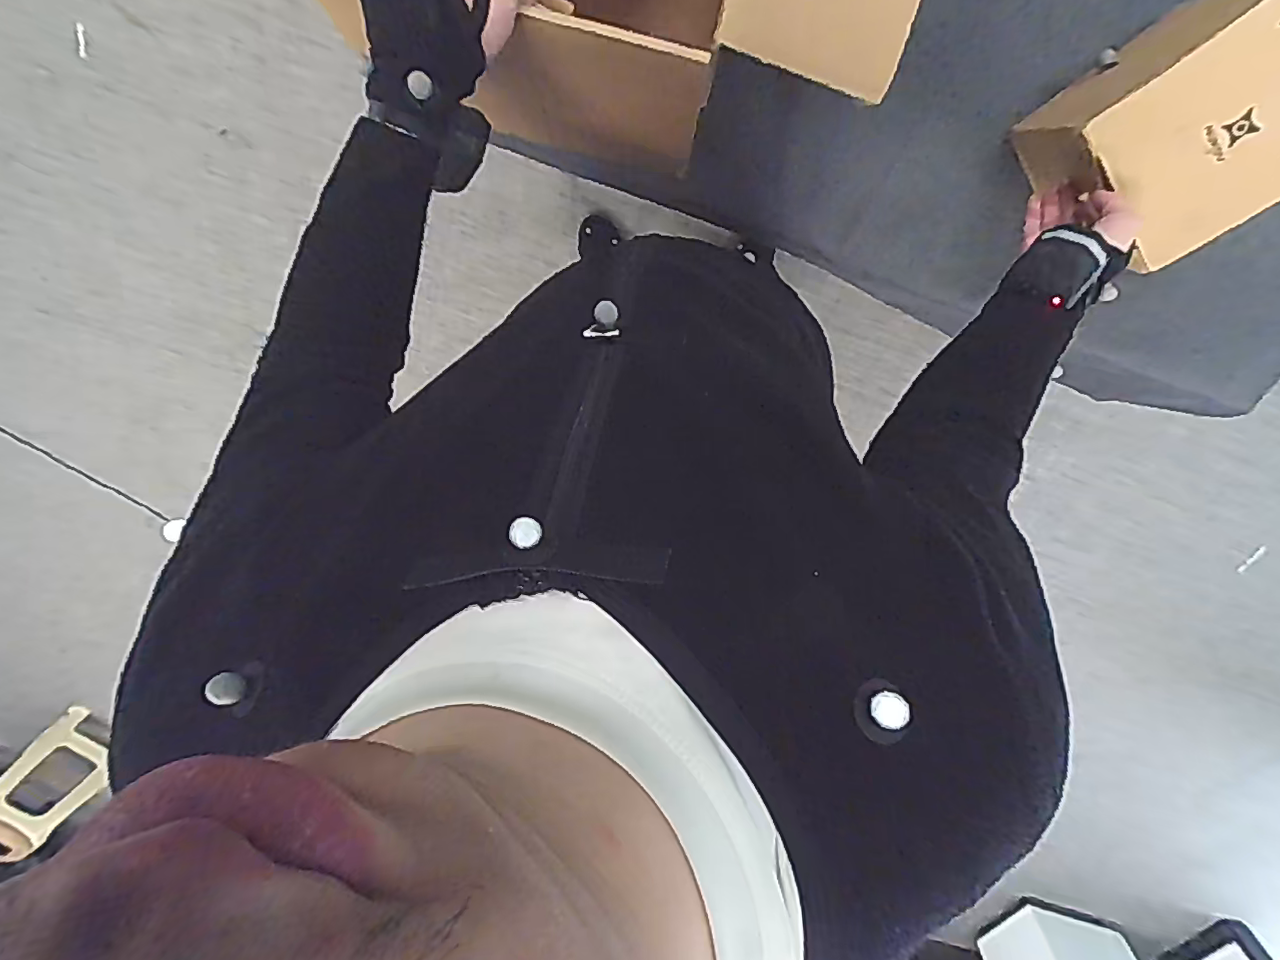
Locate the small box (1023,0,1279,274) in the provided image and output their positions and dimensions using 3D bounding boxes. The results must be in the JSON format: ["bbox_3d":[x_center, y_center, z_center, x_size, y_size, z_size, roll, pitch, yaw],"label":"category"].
[{"bbox_3d":[0.533,-0.345,0.552,0.179,0.176,0.168,-32,110,26],"label":"small box"}]
